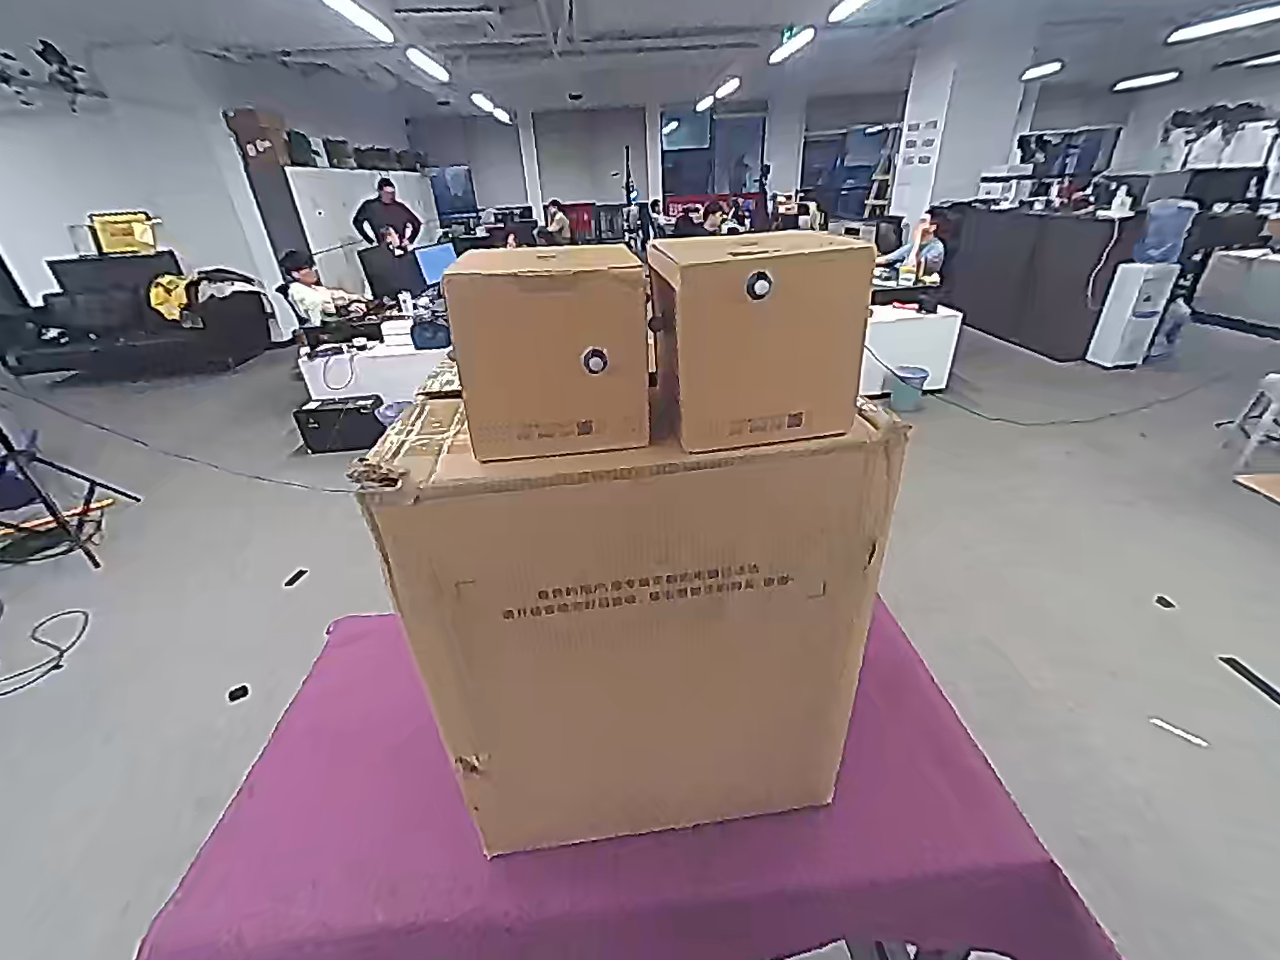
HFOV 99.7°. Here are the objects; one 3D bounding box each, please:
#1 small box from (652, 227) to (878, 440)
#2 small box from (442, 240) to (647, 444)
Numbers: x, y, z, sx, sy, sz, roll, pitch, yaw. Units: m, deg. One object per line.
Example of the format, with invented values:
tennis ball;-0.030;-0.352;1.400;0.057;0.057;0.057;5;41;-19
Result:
small box;0.106;-0.152;0.539;0.168;0.176;0.179;-7;28;-5
small box;-0.085;-0.140;0.542;0.168;0.176;0.179;-5;28;-7
